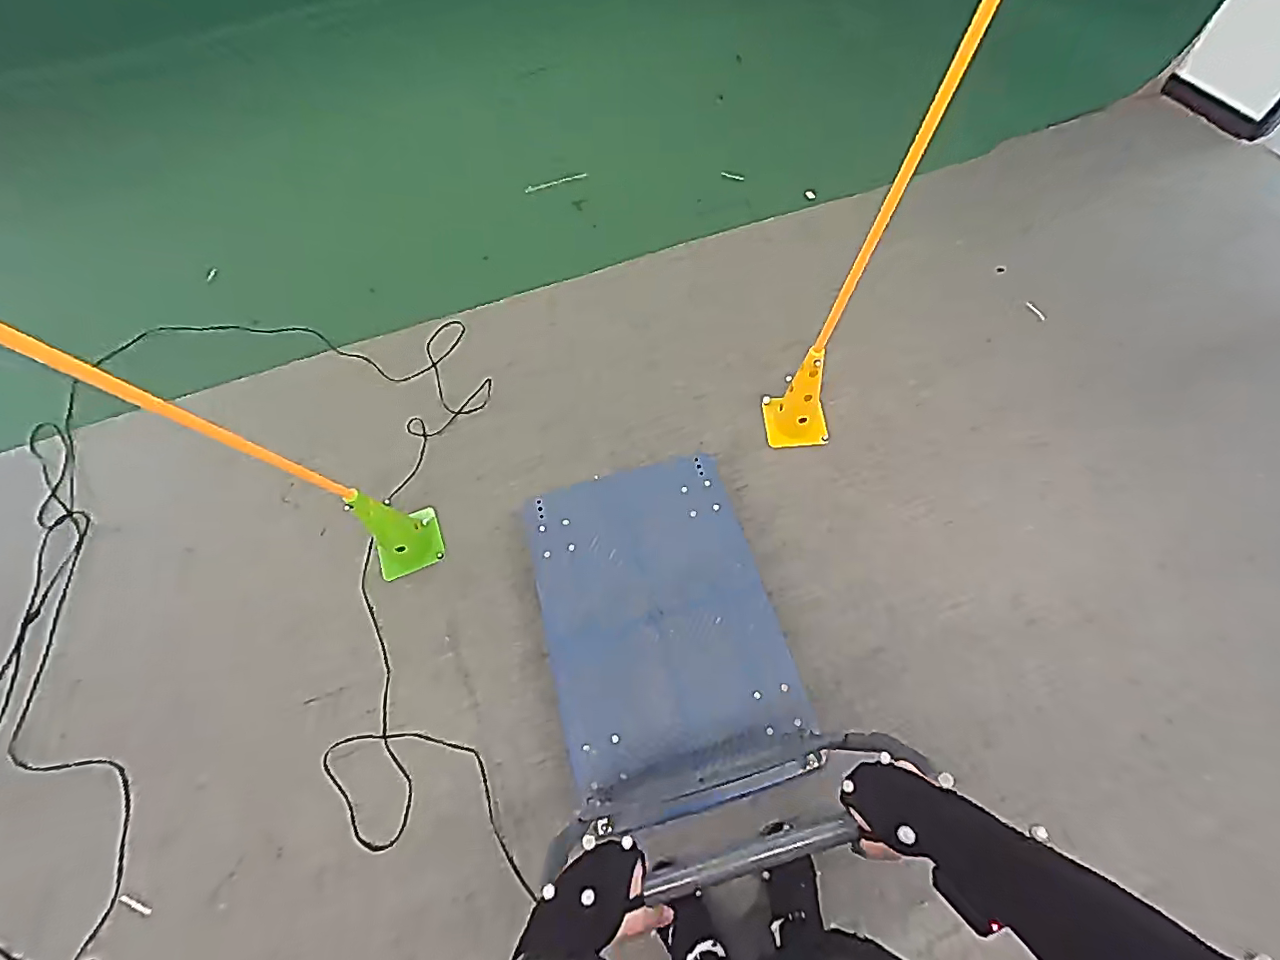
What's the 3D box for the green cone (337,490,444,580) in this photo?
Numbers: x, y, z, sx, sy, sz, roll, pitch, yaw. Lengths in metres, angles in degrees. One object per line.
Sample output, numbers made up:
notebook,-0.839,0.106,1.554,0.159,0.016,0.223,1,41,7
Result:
green cone,-0.752,0.119,1.569,0.202,0.368,0.200,-23,62,-6
